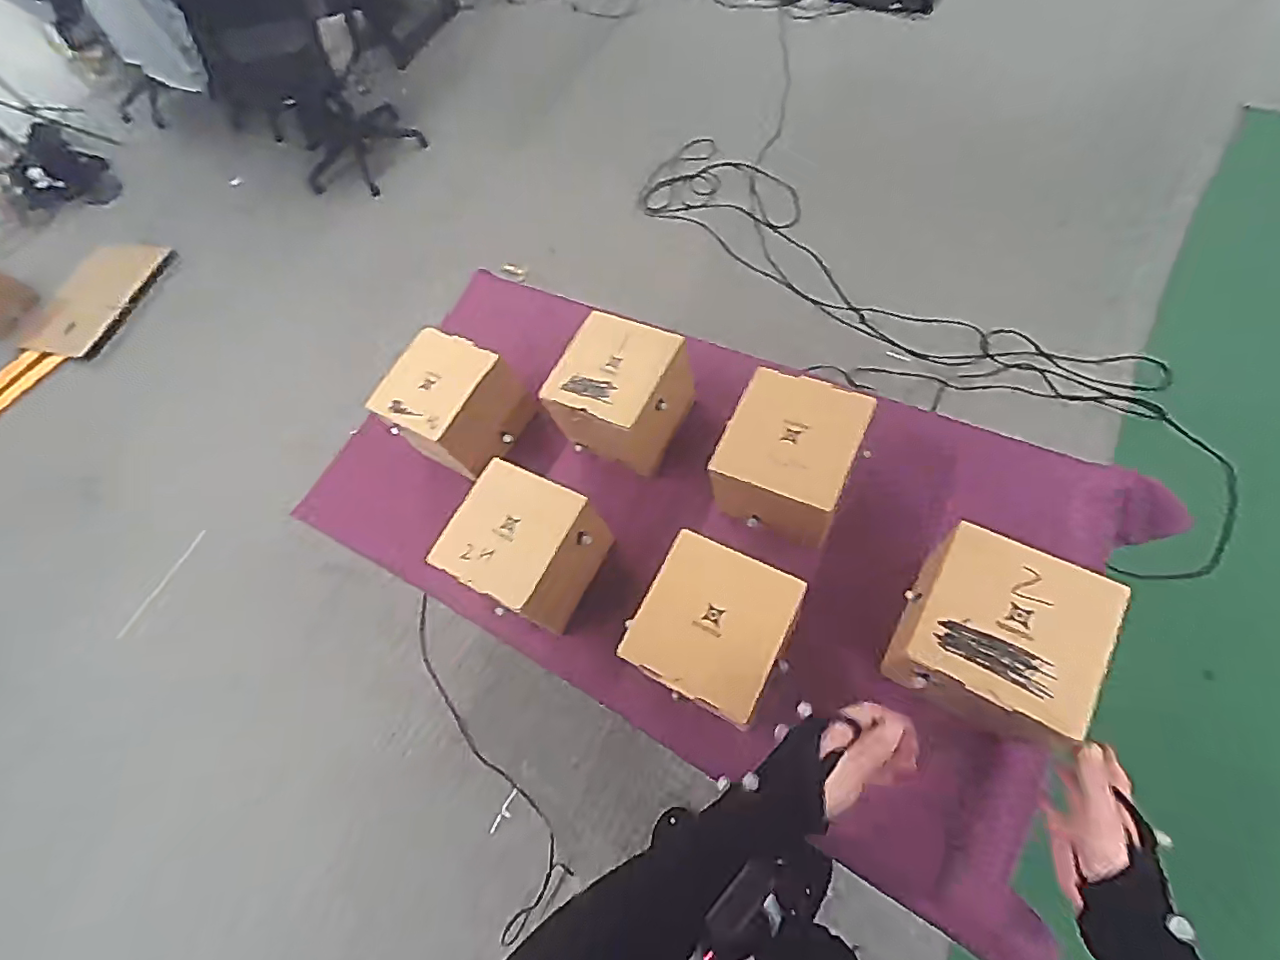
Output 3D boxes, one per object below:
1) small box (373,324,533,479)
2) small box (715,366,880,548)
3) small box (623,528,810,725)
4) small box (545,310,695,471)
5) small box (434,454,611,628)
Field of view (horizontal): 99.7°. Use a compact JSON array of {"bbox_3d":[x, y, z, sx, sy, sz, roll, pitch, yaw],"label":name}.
[{"bbox_3d":[-0.310,-0.132,0.943,0.168,0.176,0.179,25,73,23],"label":"small box"},{"bbox_3d":[0.222,-0.028,0.782,0.168,0.176,0.179,22,73,22],"label":"small box"},{"bbox_3d":[0.102,0.194,0.704,0.168,0.176,0.179,24,72,21],"label":"small box"},{"bbox_3d":[-0.019,-0.139,0.885,0.168,0.176,0.179,24,72,21],"label":"small box"},{"bbox_3d":[-0.159,0.096,0.805,0.168,0.176,0.179,23,71,21],"label":"small box"}]
